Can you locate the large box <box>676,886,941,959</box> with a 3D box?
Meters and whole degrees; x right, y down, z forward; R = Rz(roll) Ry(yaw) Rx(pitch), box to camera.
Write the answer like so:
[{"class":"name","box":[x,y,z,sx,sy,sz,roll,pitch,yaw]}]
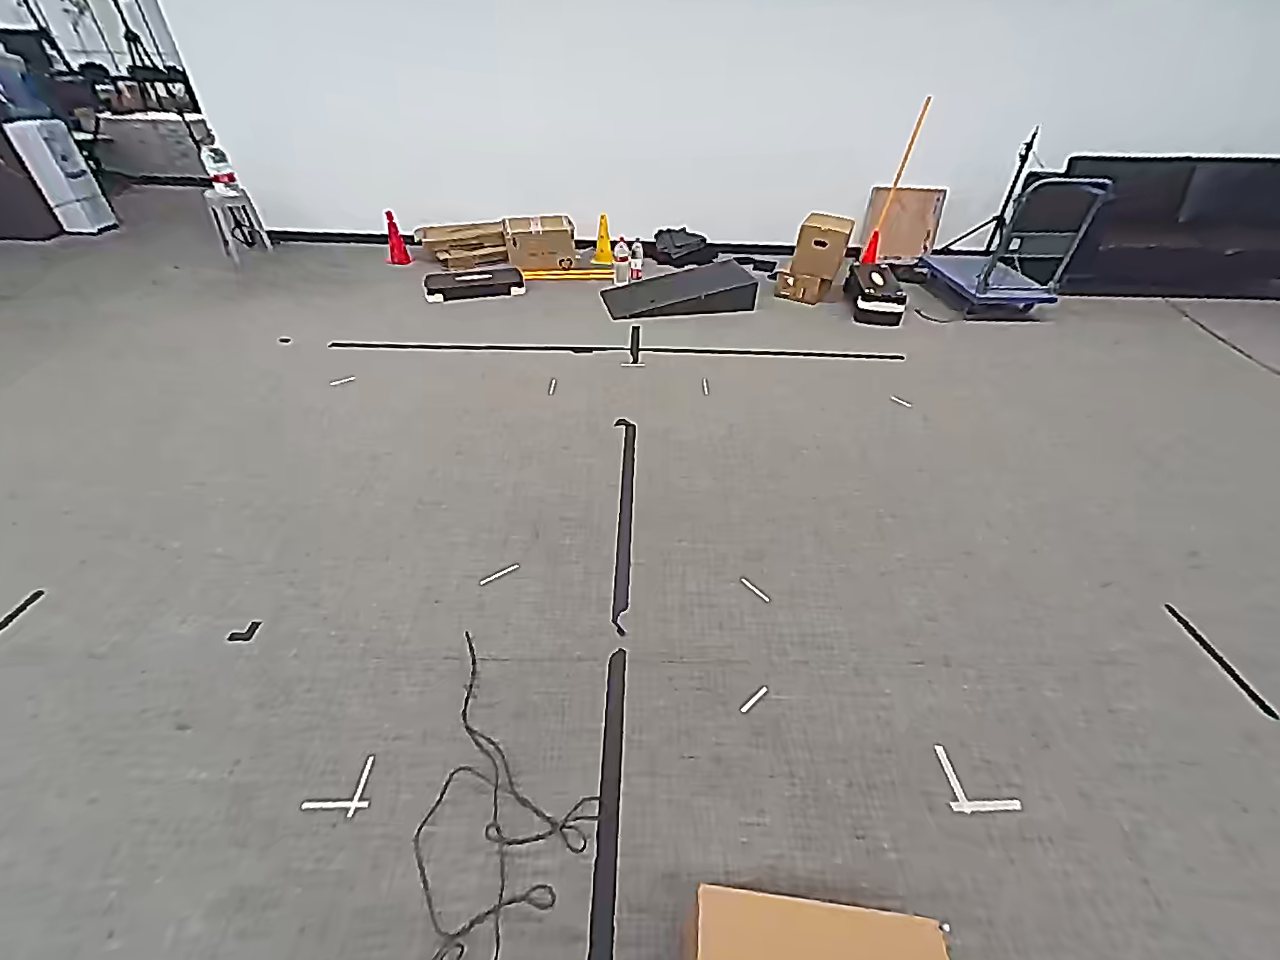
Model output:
[{"class":"large box","box":[0.266,0.927,0.889,0.408,0.320,0.320,7,39,3]}]
